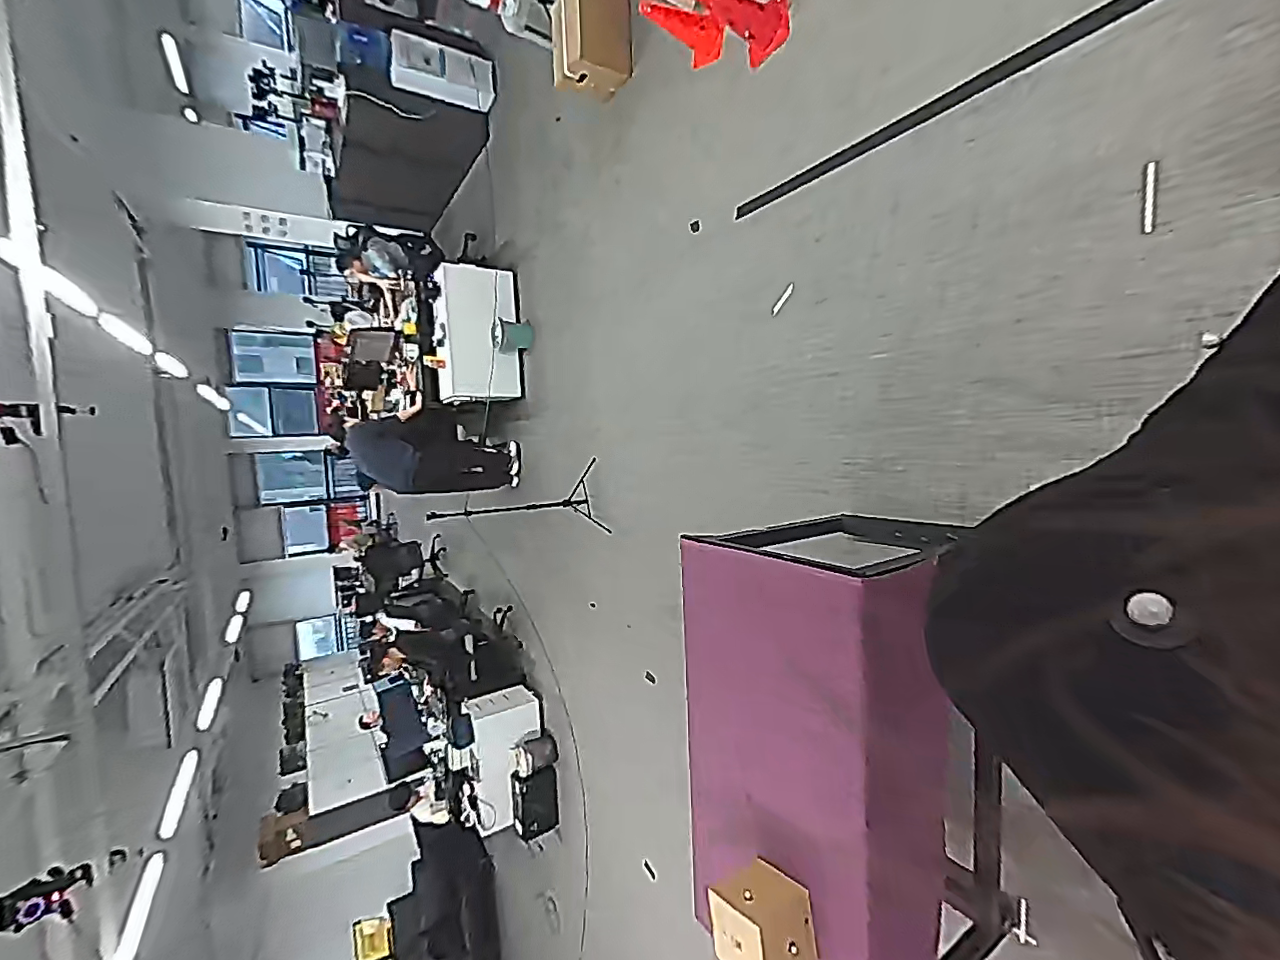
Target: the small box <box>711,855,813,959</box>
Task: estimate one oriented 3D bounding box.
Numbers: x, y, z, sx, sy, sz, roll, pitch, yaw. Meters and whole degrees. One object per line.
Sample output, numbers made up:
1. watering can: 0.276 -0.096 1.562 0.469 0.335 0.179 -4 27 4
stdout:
1. small box: 0.297 1.052 1.302 0.179 0.176 0.168 -11 85 58
